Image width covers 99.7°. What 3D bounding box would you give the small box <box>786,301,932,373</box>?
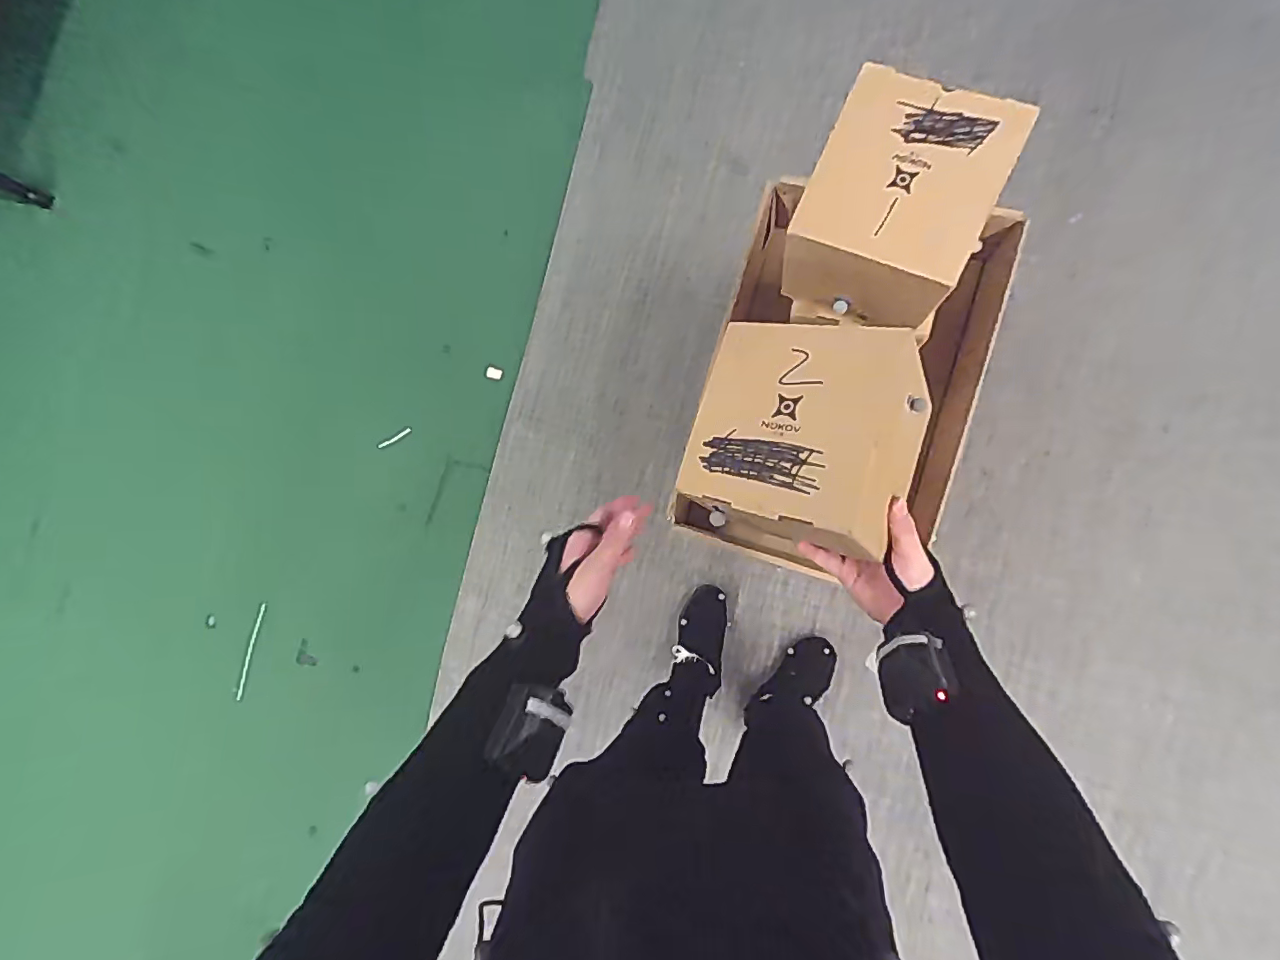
[{"bbox_3d":[0.304,-0.267,0.747,0.168,0.176,0.179,15,90,13],"label":"small box"}]

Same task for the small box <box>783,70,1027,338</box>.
[{"bbox_3d":[0.264,-0.283,0.589,0.168,0.176,0.179,25,93,13],"label":"small box"}]

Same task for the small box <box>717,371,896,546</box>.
[{"bbox_3d":[0.220,-0.022,0.741,0.168,0.176,0.179,22,90,13],"label":"small box"}]
